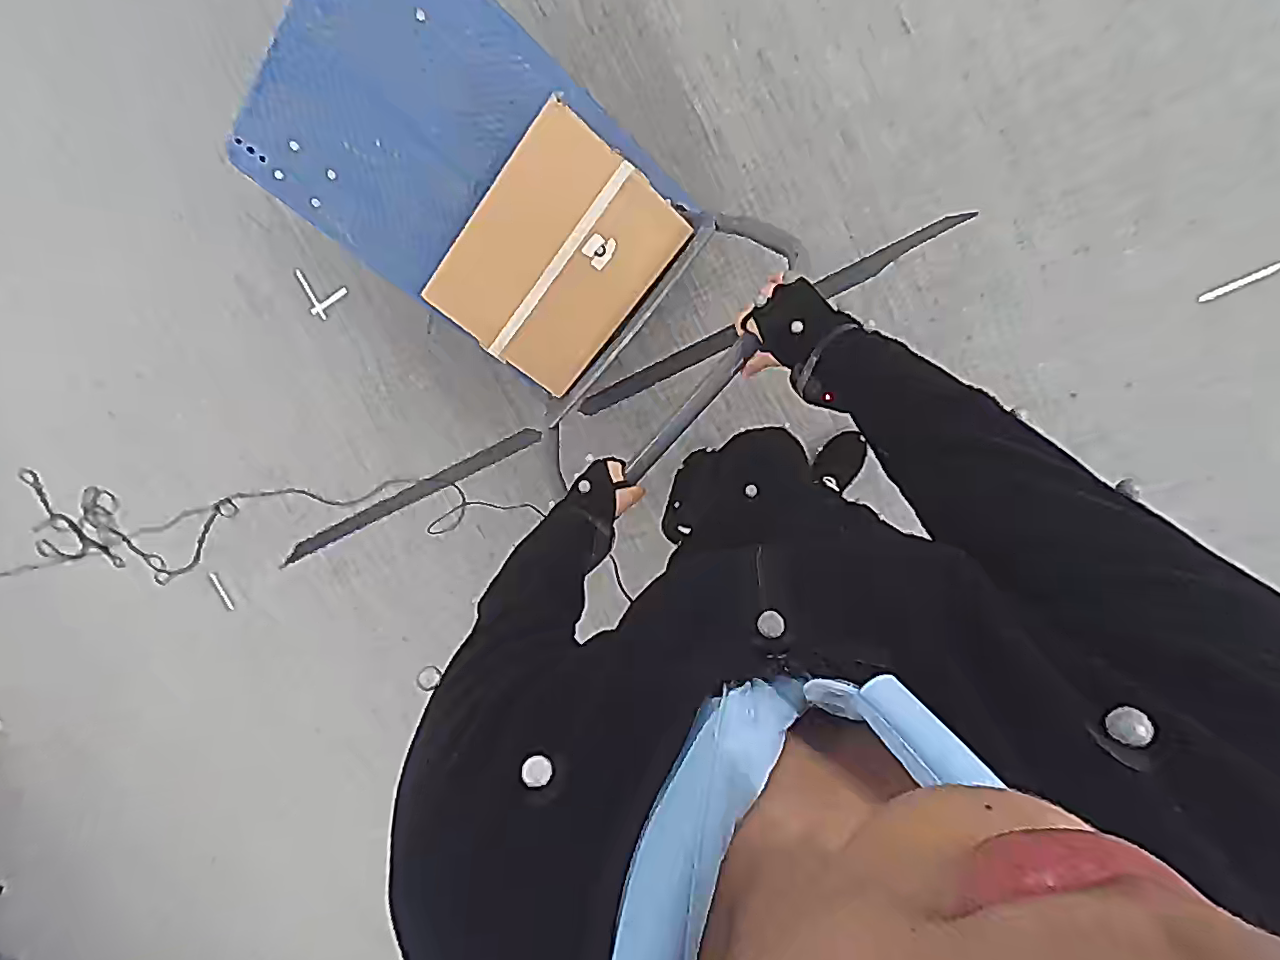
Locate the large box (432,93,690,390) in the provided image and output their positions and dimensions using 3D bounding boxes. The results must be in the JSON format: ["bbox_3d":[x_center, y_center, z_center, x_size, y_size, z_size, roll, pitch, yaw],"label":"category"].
[{"bbox_3d":[-0.160,-0.464,1.116,0.320,0.320,0.408,35,106,-20],"label":"large box"}]
